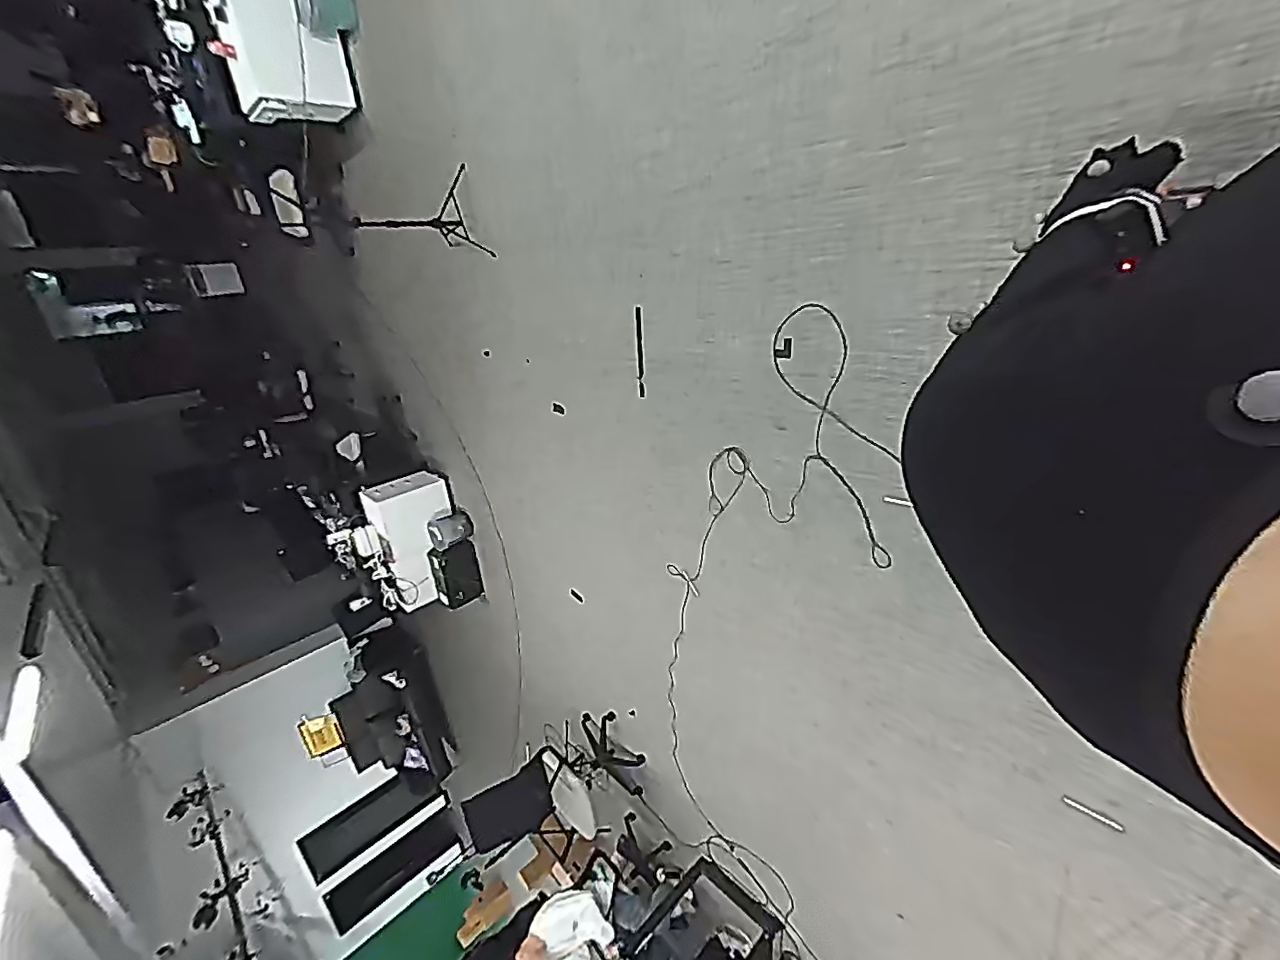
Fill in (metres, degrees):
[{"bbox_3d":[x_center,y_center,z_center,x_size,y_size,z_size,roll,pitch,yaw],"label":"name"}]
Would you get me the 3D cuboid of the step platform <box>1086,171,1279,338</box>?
[{"bbox_3d":[1.225,-0.401,0.947,0.684,0.204,0.286,15,120,43],"label":"step platform"}]
